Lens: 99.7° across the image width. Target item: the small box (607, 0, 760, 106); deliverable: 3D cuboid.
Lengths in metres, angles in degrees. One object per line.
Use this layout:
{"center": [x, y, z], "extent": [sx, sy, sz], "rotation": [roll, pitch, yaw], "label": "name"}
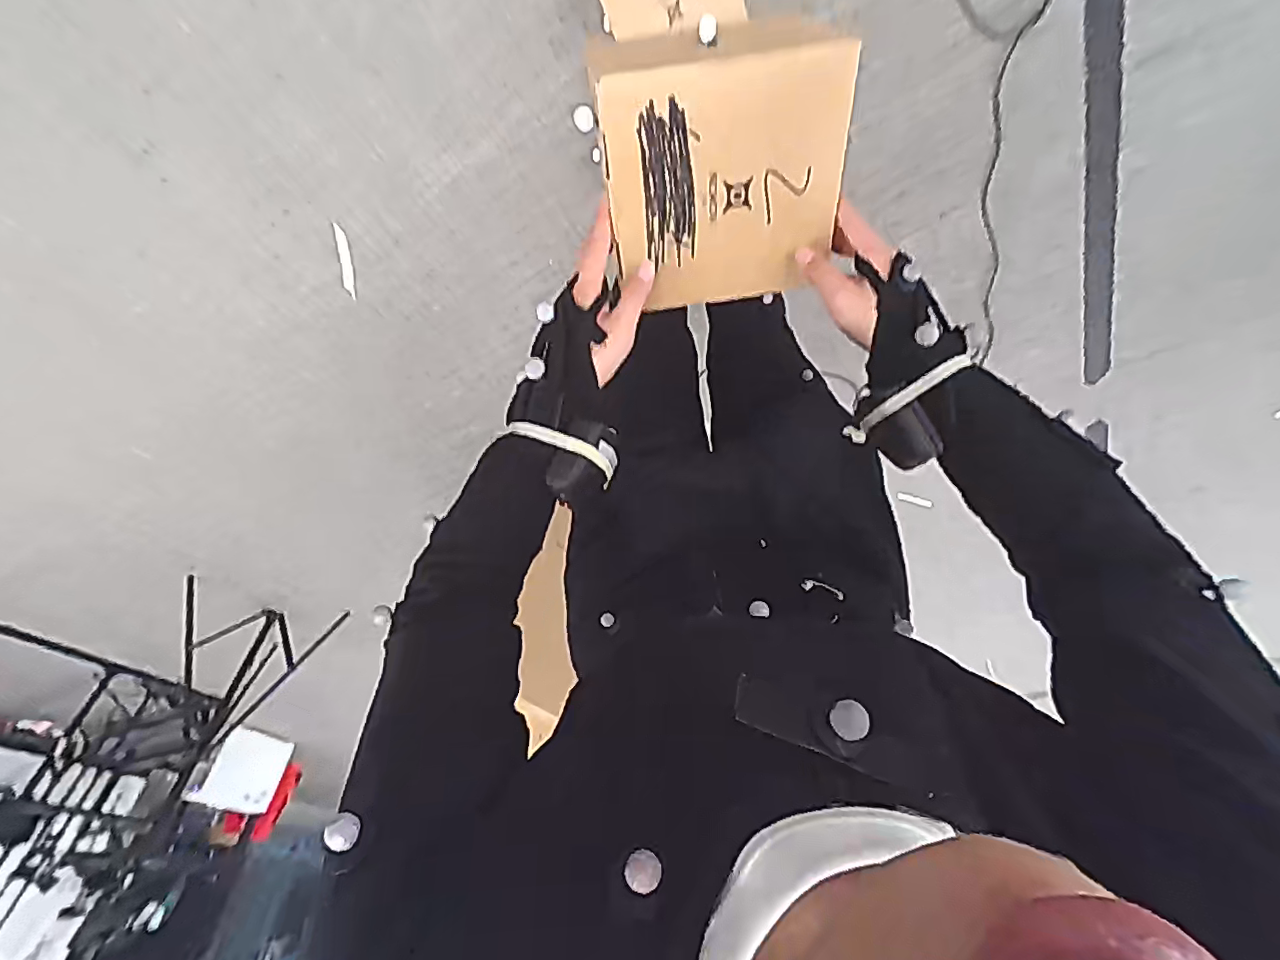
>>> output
{"center": [0.051, -0.654, 0.727], "extent": [0.168, 0.176, 0.179], "rotation": [-15, 136, 20], "label": "small box"}
